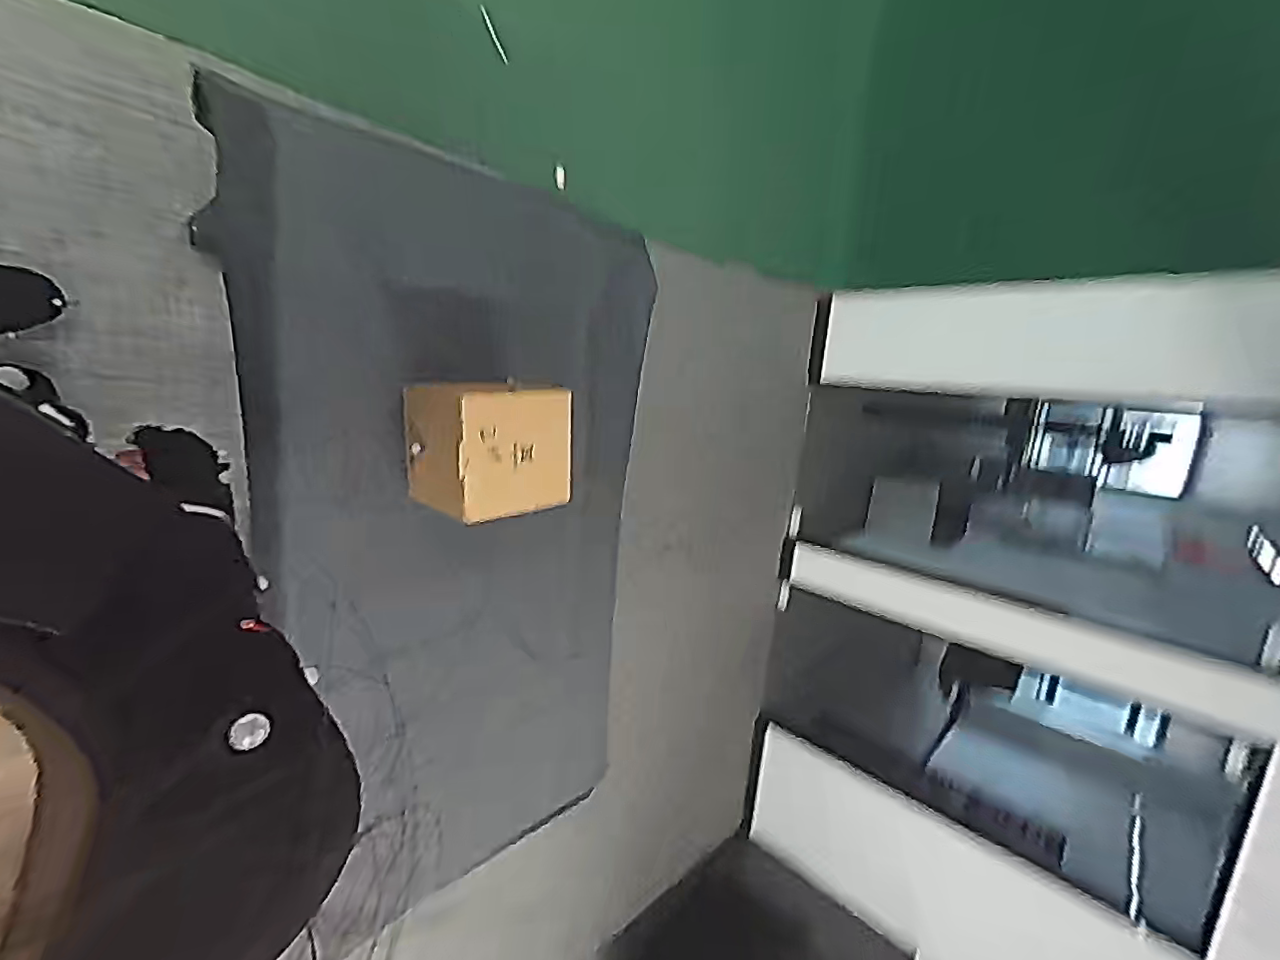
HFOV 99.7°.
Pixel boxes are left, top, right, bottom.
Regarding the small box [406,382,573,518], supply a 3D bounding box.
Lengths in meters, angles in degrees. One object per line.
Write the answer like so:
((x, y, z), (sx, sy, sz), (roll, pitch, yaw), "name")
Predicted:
((-0.219, -0.055, 0.792), (0.179, 0.176, 0.168), (-11, 109, -46), "small box")
